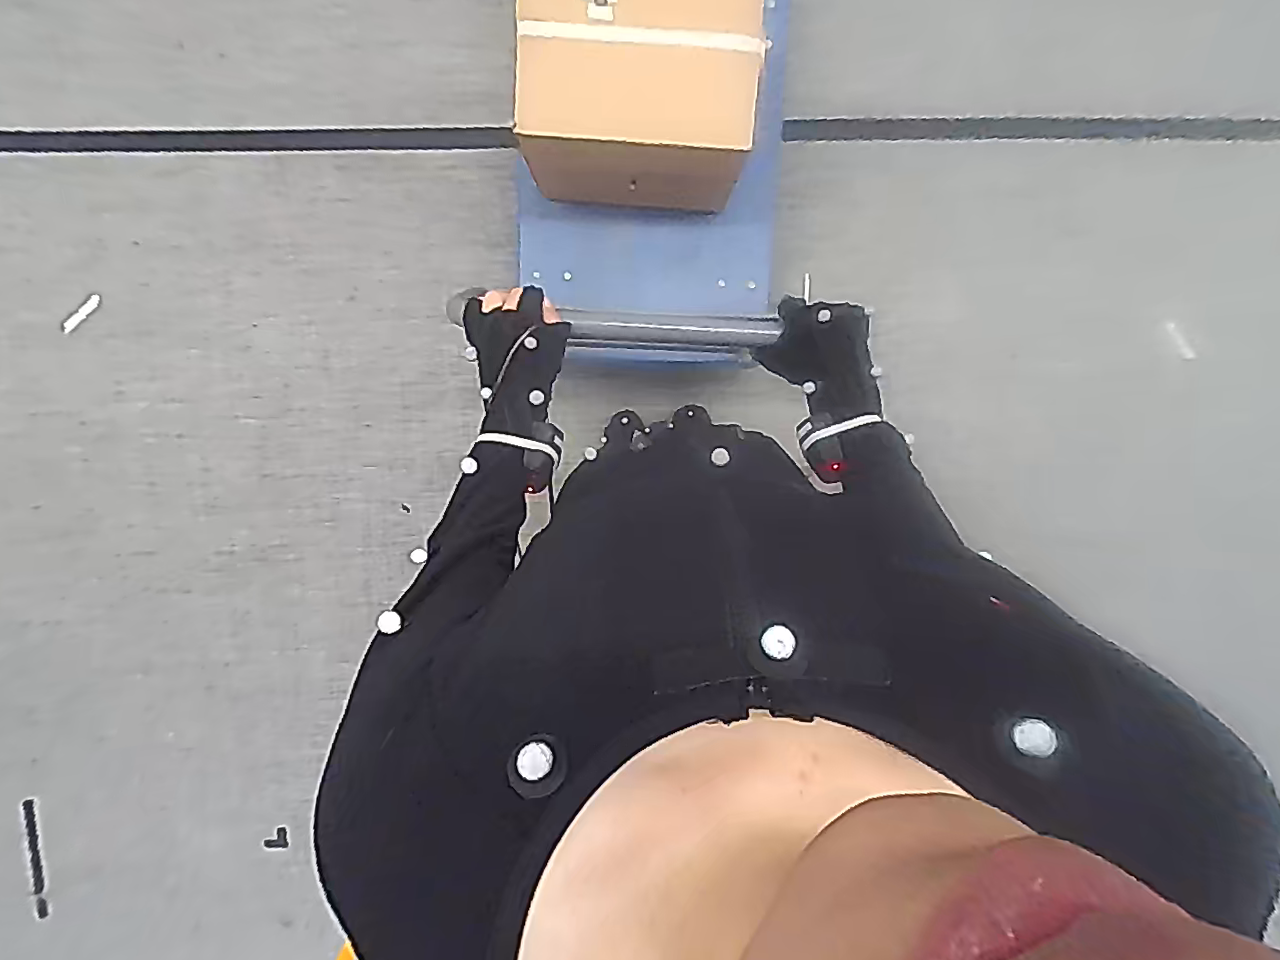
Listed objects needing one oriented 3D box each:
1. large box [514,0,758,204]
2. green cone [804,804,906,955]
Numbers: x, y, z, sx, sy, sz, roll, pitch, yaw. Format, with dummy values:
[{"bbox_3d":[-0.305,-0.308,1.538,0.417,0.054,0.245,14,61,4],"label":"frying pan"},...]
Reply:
[{"bbox_3d":[-0.007,-0.749,1.039,0.408,0.320,0.320,3,99,-1],"label":"large box"},{"bbox_3d":[0.610,1.104,1.476,0.202,0.368,0.200,4,99,-3],"label":"green cone"}]
